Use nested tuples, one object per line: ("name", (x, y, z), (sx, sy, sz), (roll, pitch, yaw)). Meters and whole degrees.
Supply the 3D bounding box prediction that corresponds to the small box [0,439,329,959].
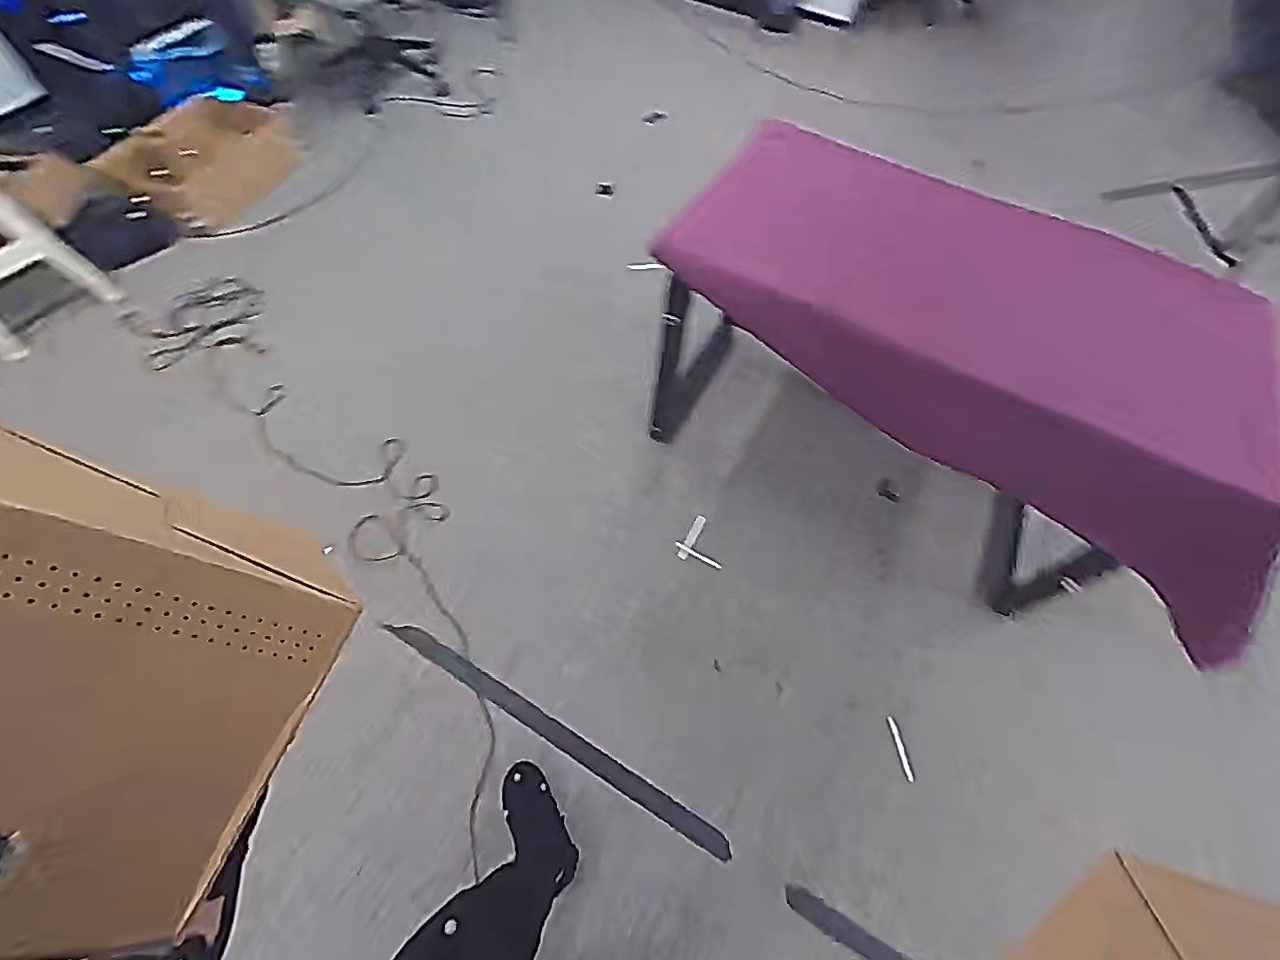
("small box", (-0.289, 0.088, 0.265), (0.168, 0.179, 0.176), (7, 71, 50))
